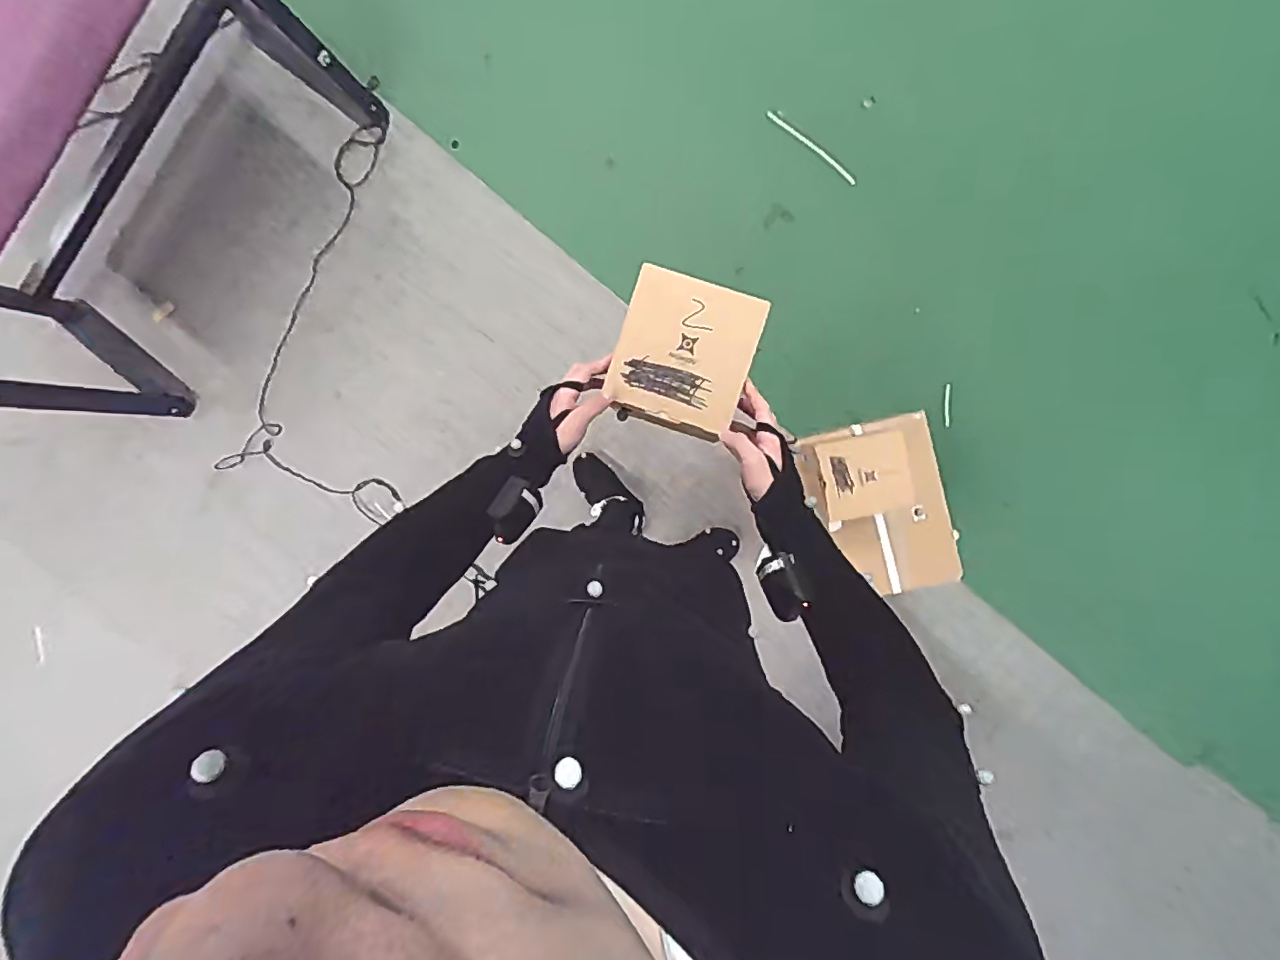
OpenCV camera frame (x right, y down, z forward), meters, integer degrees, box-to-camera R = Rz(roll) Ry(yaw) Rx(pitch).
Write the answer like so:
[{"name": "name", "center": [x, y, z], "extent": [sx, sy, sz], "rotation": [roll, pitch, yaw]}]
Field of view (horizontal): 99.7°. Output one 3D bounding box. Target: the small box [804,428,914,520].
[{"name": "small box", "center": [0.465, -0.016, 1.178], "extent": [0.179, 0.176, 0.168], "rotation": [-11, 93, 6]}]
